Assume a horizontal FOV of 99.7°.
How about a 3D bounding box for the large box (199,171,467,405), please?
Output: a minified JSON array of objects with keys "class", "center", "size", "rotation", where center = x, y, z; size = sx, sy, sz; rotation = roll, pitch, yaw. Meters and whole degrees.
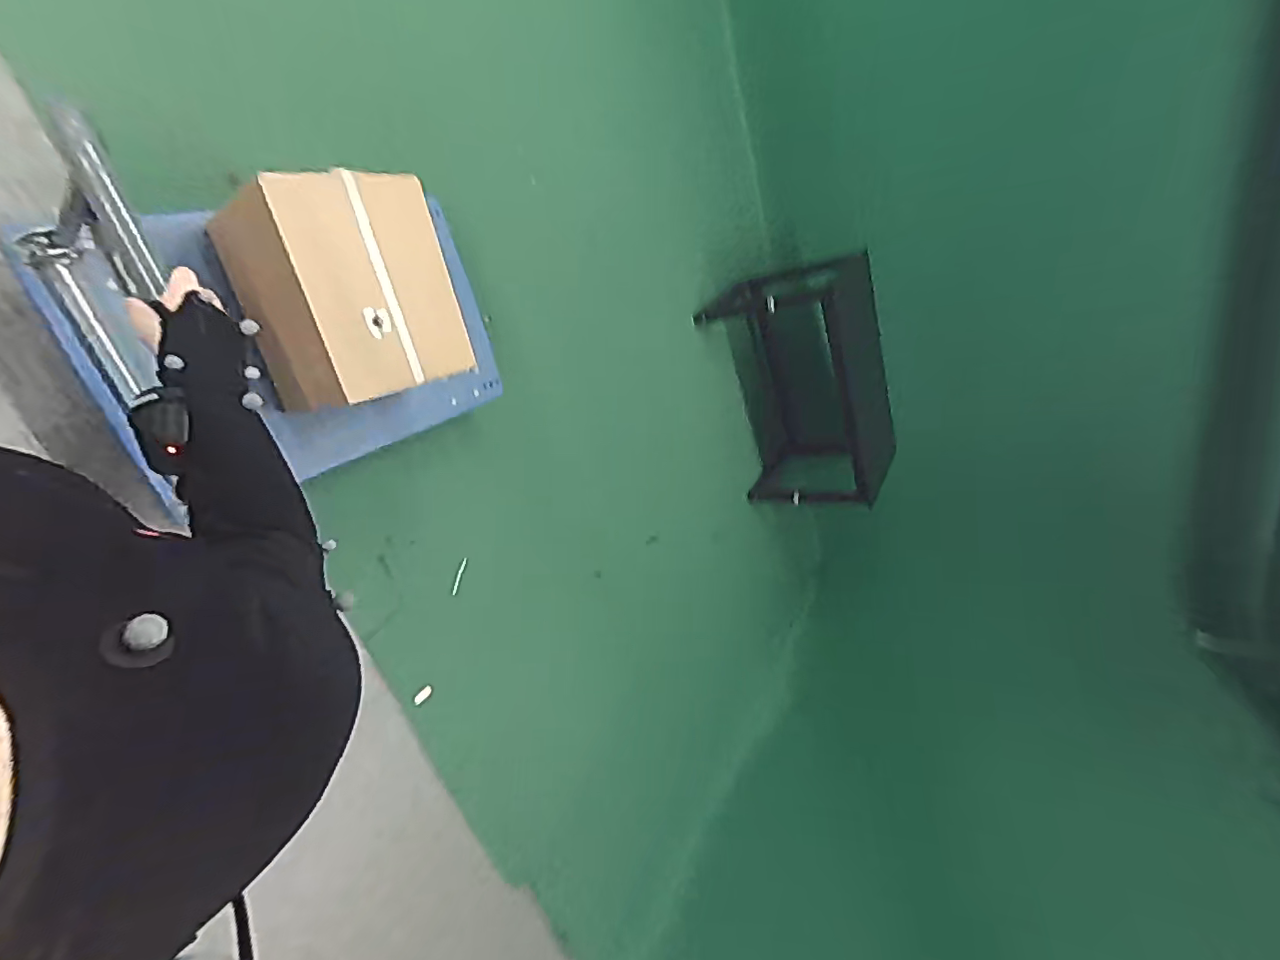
[{"class":"large box","center":[-0.648,-0.403,1.171],"size":[0.320,0.320,0.408],"rotation":[-33,118,-46]}]
